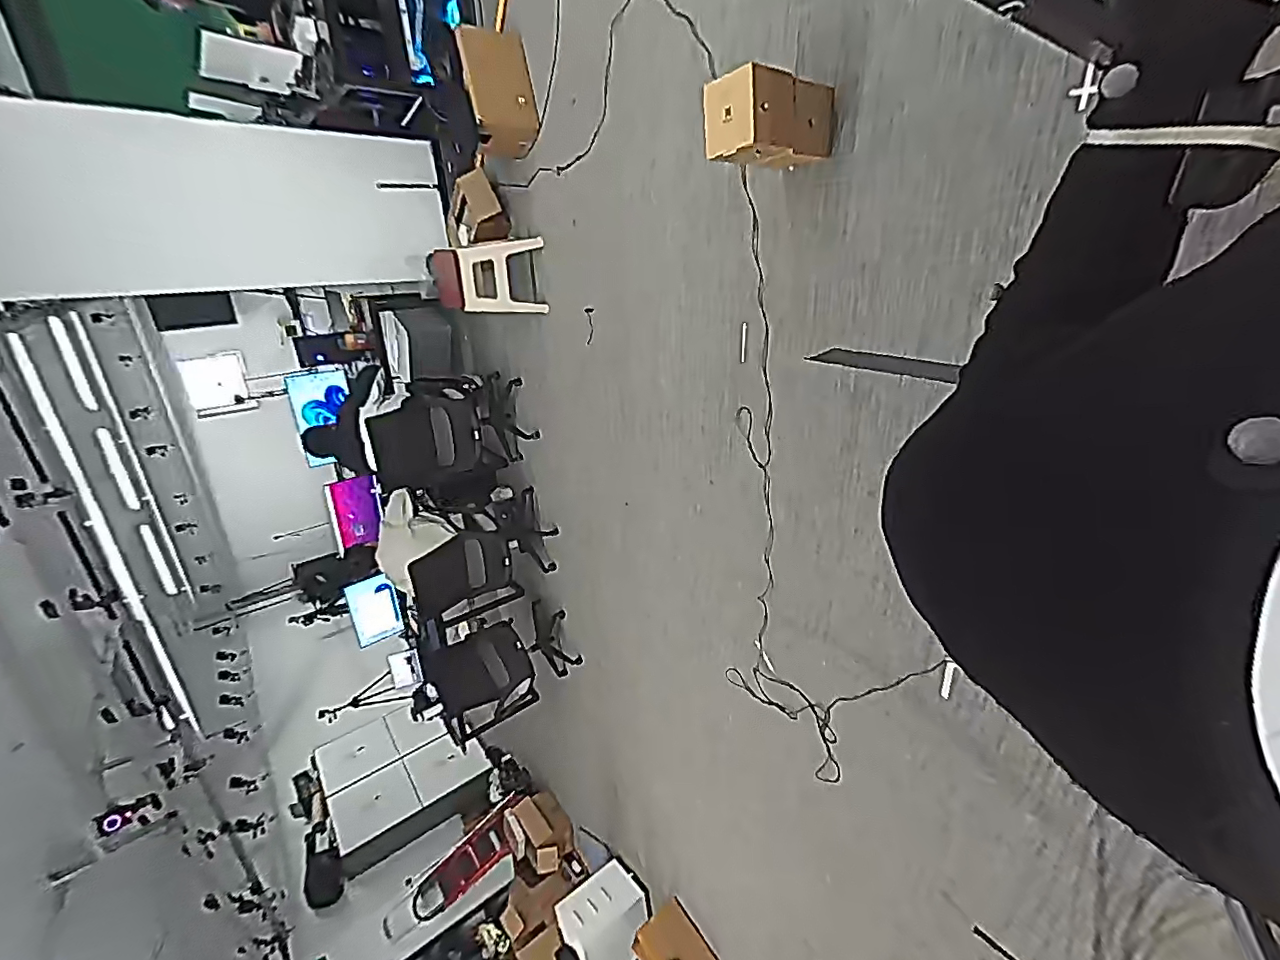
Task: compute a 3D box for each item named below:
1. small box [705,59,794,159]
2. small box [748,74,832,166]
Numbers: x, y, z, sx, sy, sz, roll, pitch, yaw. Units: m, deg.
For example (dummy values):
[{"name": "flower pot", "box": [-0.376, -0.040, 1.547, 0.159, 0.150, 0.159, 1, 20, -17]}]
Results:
[{"name": "small box", "box": [0.291, -0.960, 1.420, 0.168, 0.176, 0.179, 16, 117, 49]}, {"name": "small box", "box": [0.419, -0.997, 1.513, 0.168, 0.176, 0.179, 21, 122, 49]}]
